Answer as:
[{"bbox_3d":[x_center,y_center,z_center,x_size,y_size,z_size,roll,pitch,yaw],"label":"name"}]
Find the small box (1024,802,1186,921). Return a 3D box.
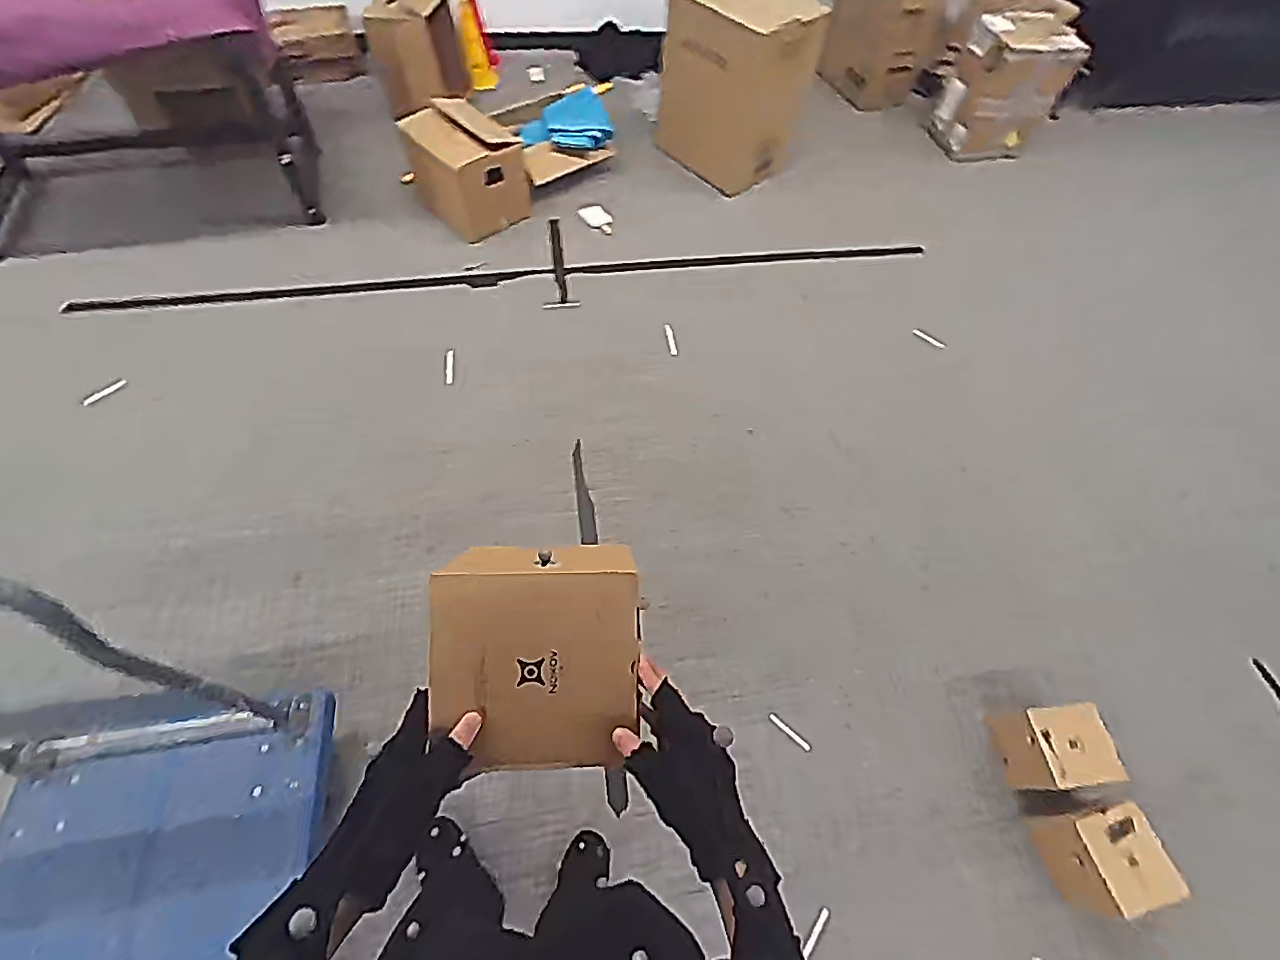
[{"bbox_3d":[1.015,0.837,1.202,0.168,0.176,0.179,-11,61,-10],"label":"small box"}]

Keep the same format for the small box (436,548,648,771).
[{"bbox_3d":[-0.088,0.157,0.529,0.179,0.176,0.168,-1,89,-4],"label":"small box"}]

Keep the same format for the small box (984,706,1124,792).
[{"bbox_3d":[0.988,0.653,1.310,0.179,0.176,0.168,-3,59,-6],"label":"small box"}]
